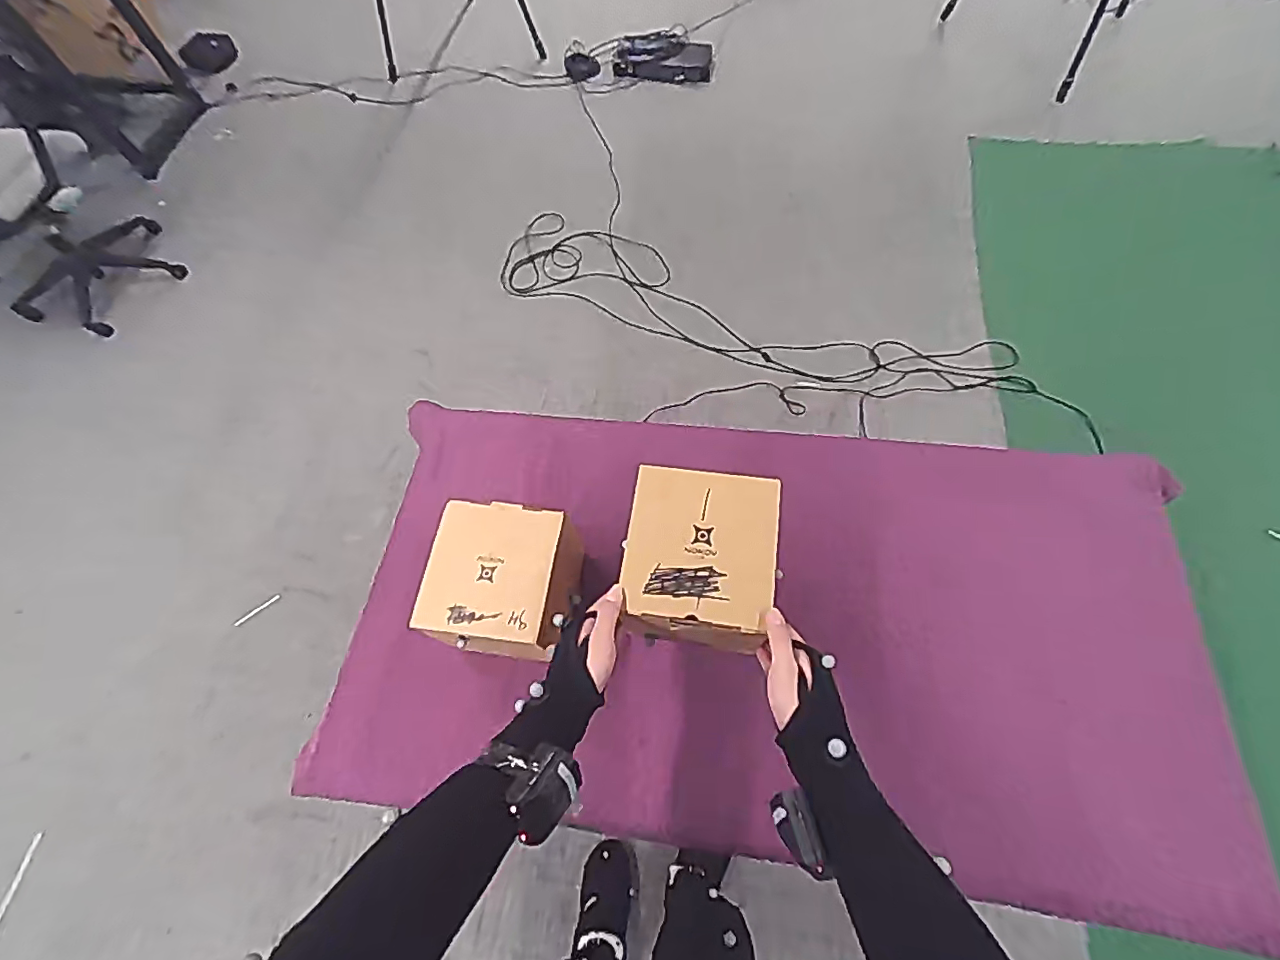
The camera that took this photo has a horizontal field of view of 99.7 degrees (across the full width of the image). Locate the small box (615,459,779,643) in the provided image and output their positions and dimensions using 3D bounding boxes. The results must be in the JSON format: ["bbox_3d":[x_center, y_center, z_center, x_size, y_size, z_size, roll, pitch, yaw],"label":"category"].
[{"bbox_3d":[0.073,0.095,0.671,0.168,0.176,0.179,7,65,8],"label":"small box"}]

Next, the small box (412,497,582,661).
[{"bbox_3d":[-0.186,0.144,0.767,0.168,0.176,0.179,6,64,8],"label":"small box"}]
